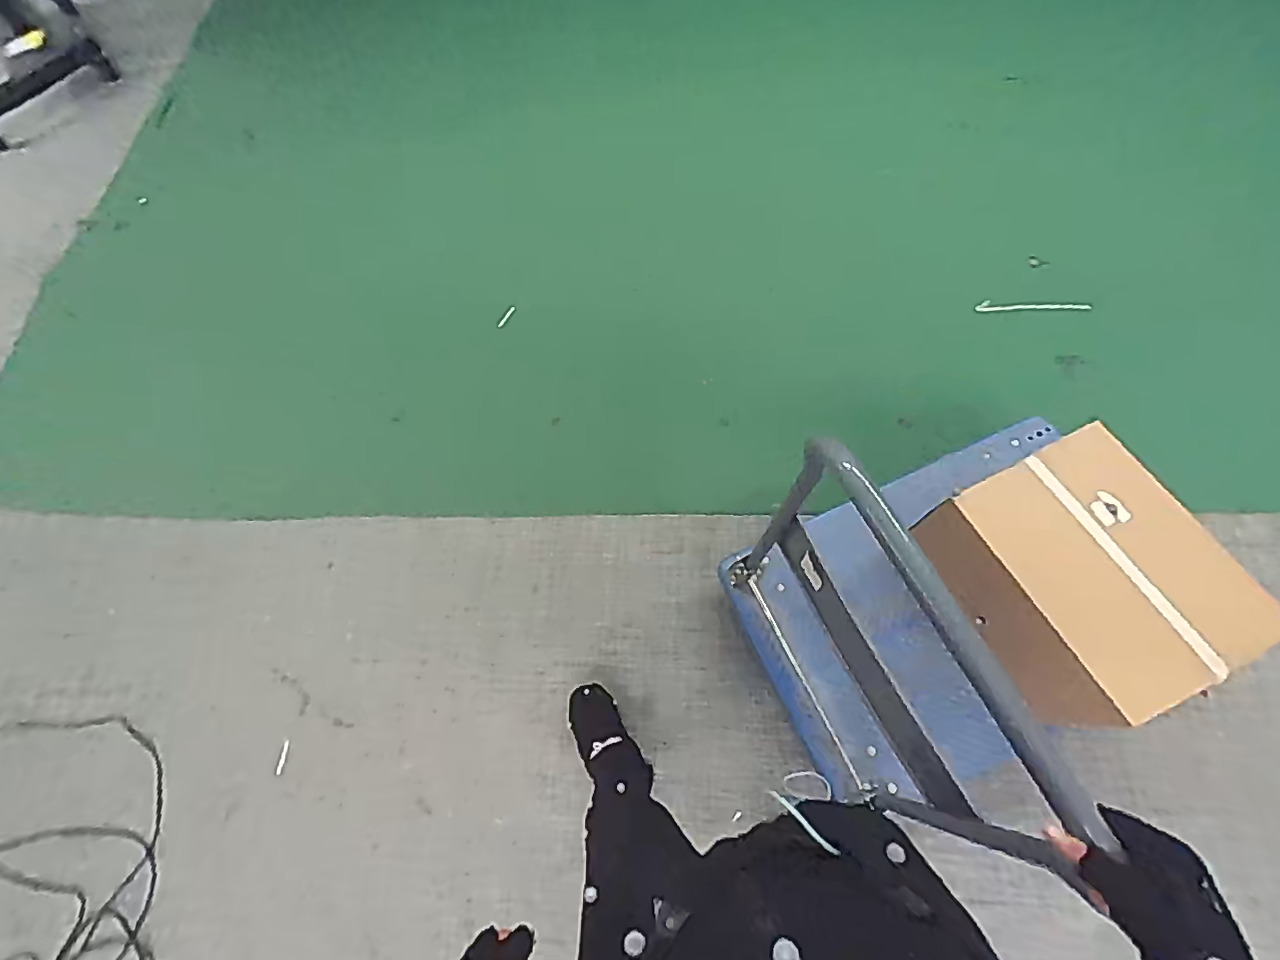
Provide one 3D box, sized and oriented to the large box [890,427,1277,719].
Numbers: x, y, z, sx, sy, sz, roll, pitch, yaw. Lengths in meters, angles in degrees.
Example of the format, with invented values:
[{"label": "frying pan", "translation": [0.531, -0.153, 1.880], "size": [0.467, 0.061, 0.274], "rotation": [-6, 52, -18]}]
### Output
[{"label": "large box", "translation": [0.764, 0.185, 1.019], "size": [0.320, 0.320, 0.408], "rotation": [-26, 66, -6]}]
